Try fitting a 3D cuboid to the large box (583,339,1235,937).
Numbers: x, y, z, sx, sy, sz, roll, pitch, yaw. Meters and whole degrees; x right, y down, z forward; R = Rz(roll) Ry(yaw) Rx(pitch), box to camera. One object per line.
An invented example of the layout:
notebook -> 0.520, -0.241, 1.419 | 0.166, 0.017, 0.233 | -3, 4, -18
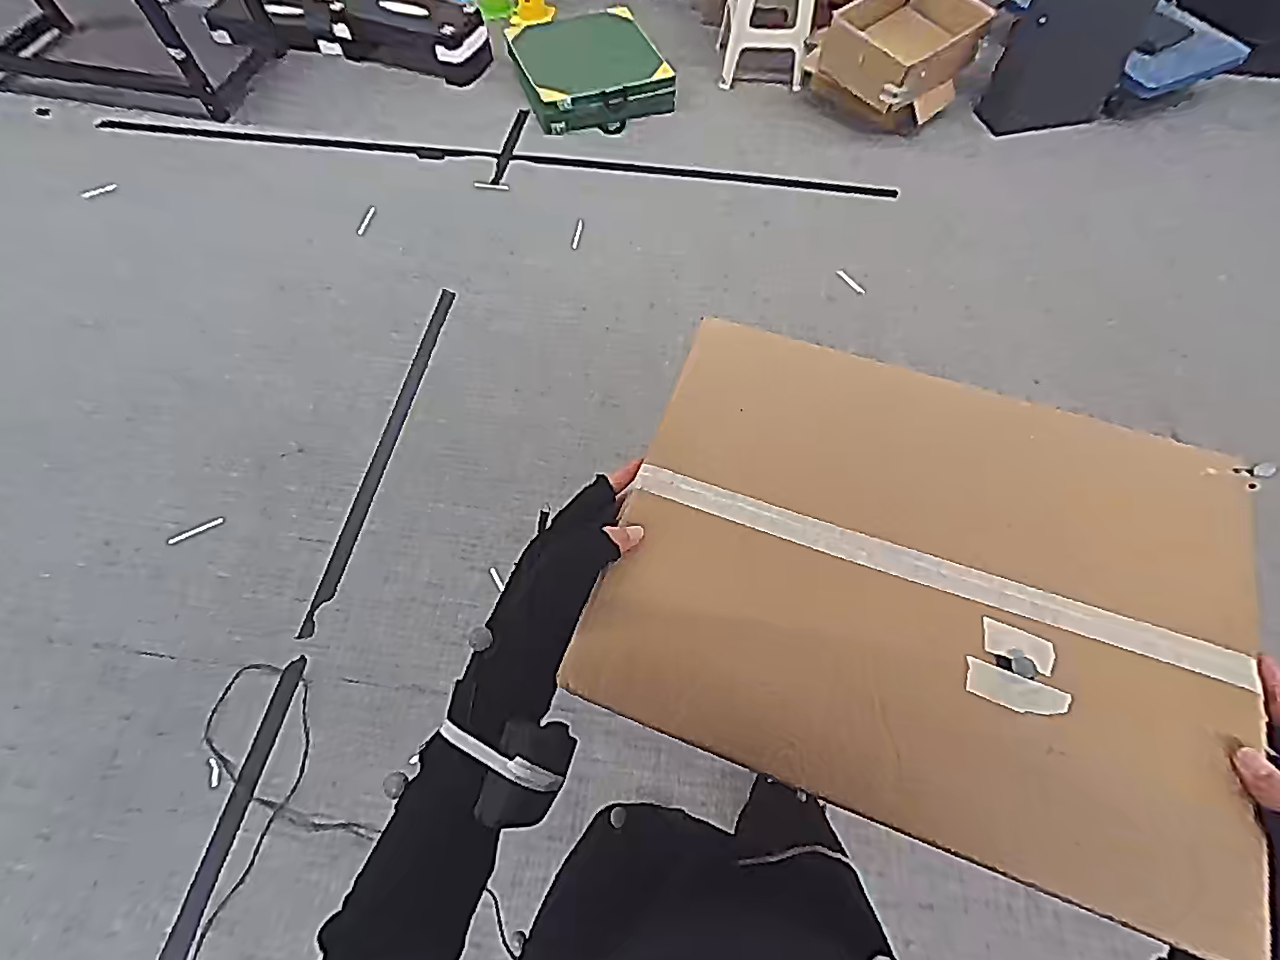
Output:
large box -> 0.201, 0.122, 0.522 | 0.408, 0.320, 0.320 | 19, 70, 10
